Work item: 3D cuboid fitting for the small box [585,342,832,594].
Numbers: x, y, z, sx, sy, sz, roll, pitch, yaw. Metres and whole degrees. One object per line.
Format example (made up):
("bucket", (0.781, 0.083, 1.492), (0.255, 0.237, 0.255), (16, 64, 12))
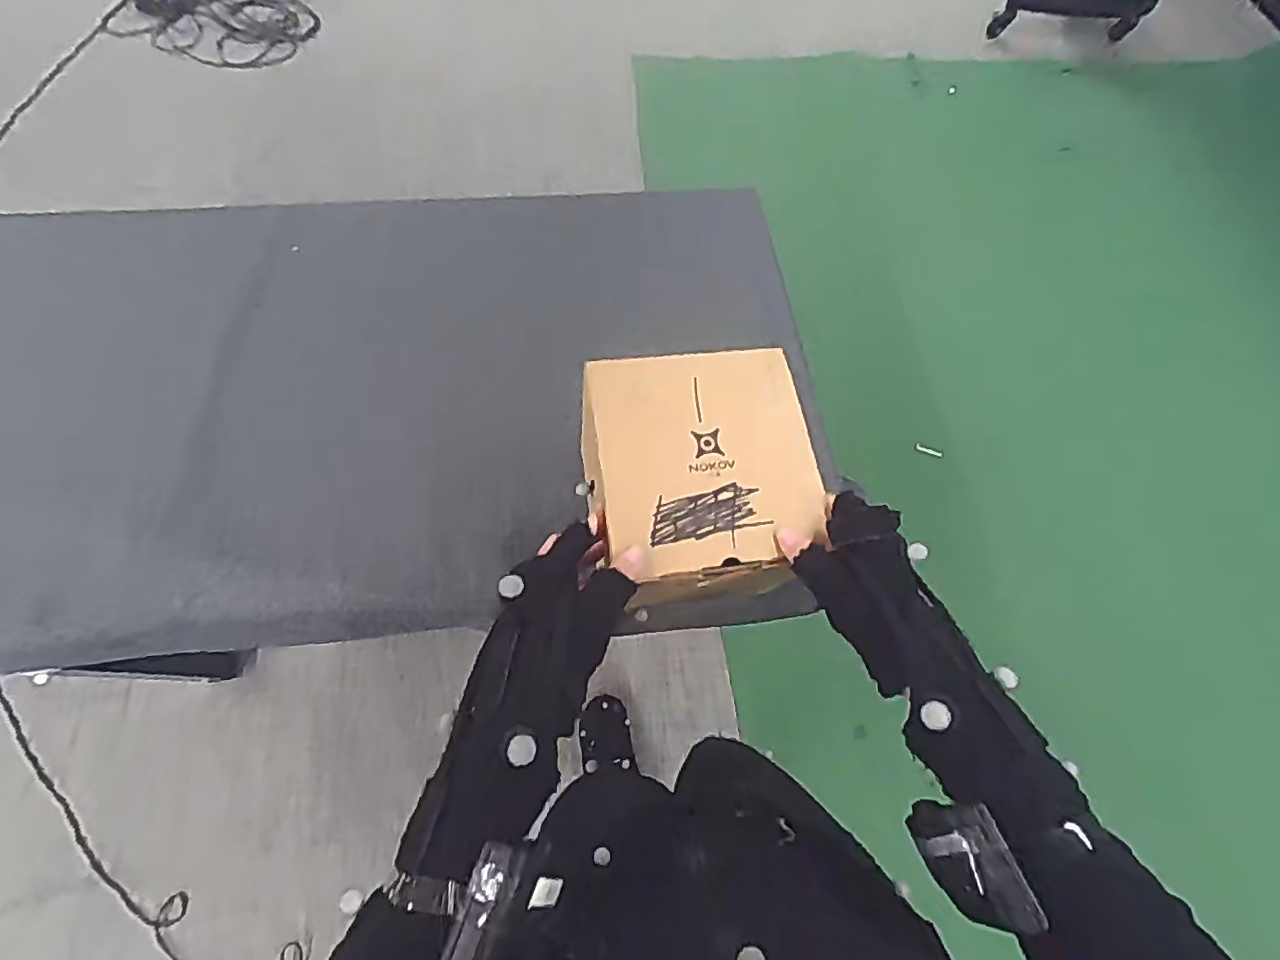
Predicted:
("small box", (0.042, 0.001, 0.484), (0.168, 0.176, 0.179), (-6, 70, -9))
